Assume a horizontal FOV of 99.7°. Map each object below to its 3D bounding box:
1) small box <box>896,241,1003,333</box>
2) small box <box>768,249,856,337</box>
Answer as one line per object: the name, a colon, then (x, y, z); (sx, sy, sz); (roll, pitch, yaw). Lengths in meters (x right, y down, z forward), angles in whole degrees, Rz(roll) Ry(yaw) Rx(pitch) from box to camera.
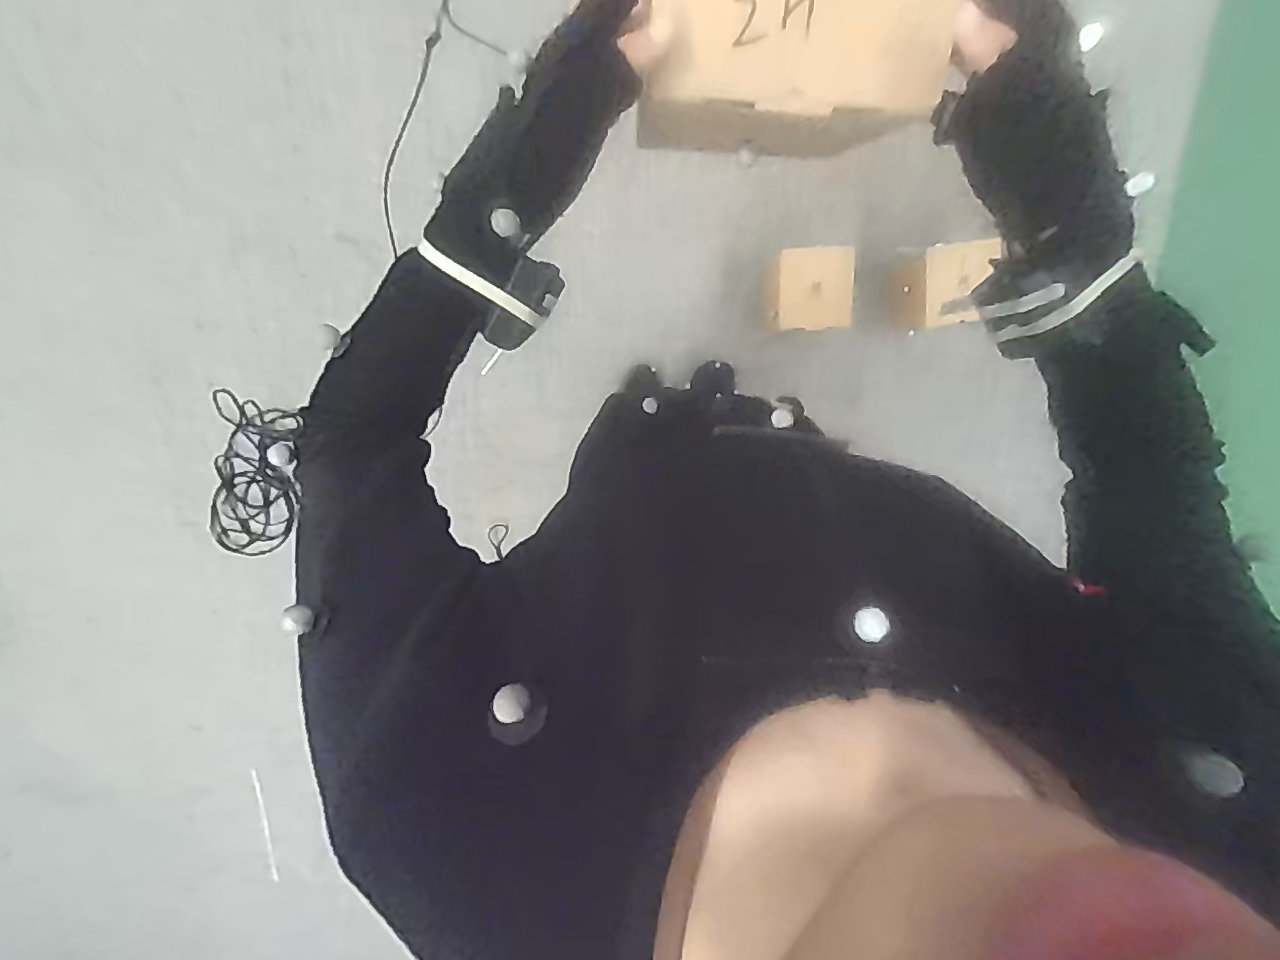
small box: (0.718, -0.444, 1.270); (0.168, 0.176, 0.179); (-7, 102, 3)
small box: (0.400, -0.436, 1.284); (0.168, 0.176, 0.179); (-2, 104, 4)
